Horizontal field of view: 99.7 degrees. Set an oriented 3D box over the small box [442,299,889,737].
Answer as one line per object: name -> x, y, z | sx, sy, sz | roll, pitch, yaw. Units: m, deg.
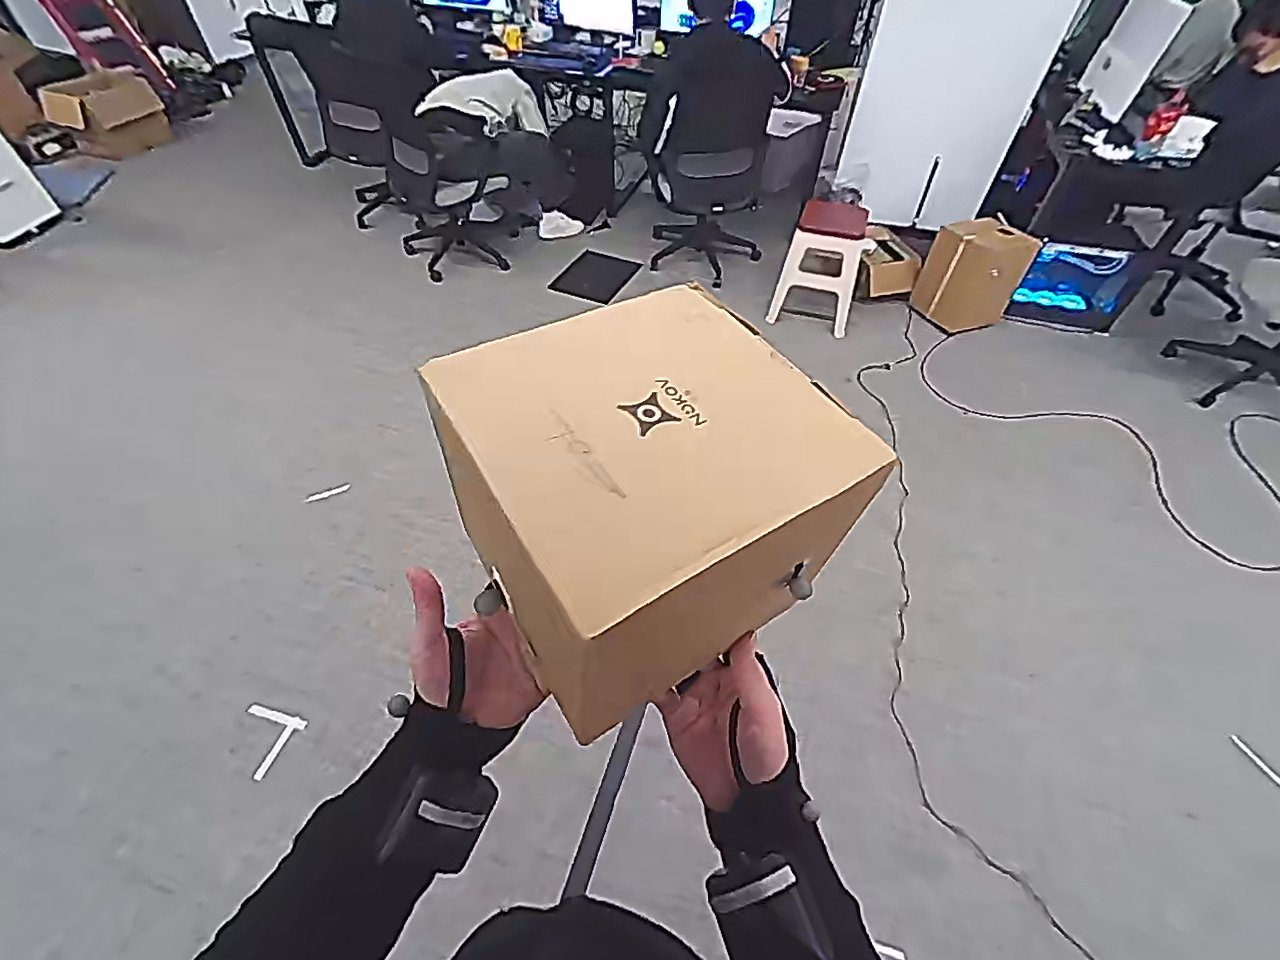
small box -> 0.004, 0.022, 0.335 | 0.179, 0.176, 0.168 | -26, 58, -25
